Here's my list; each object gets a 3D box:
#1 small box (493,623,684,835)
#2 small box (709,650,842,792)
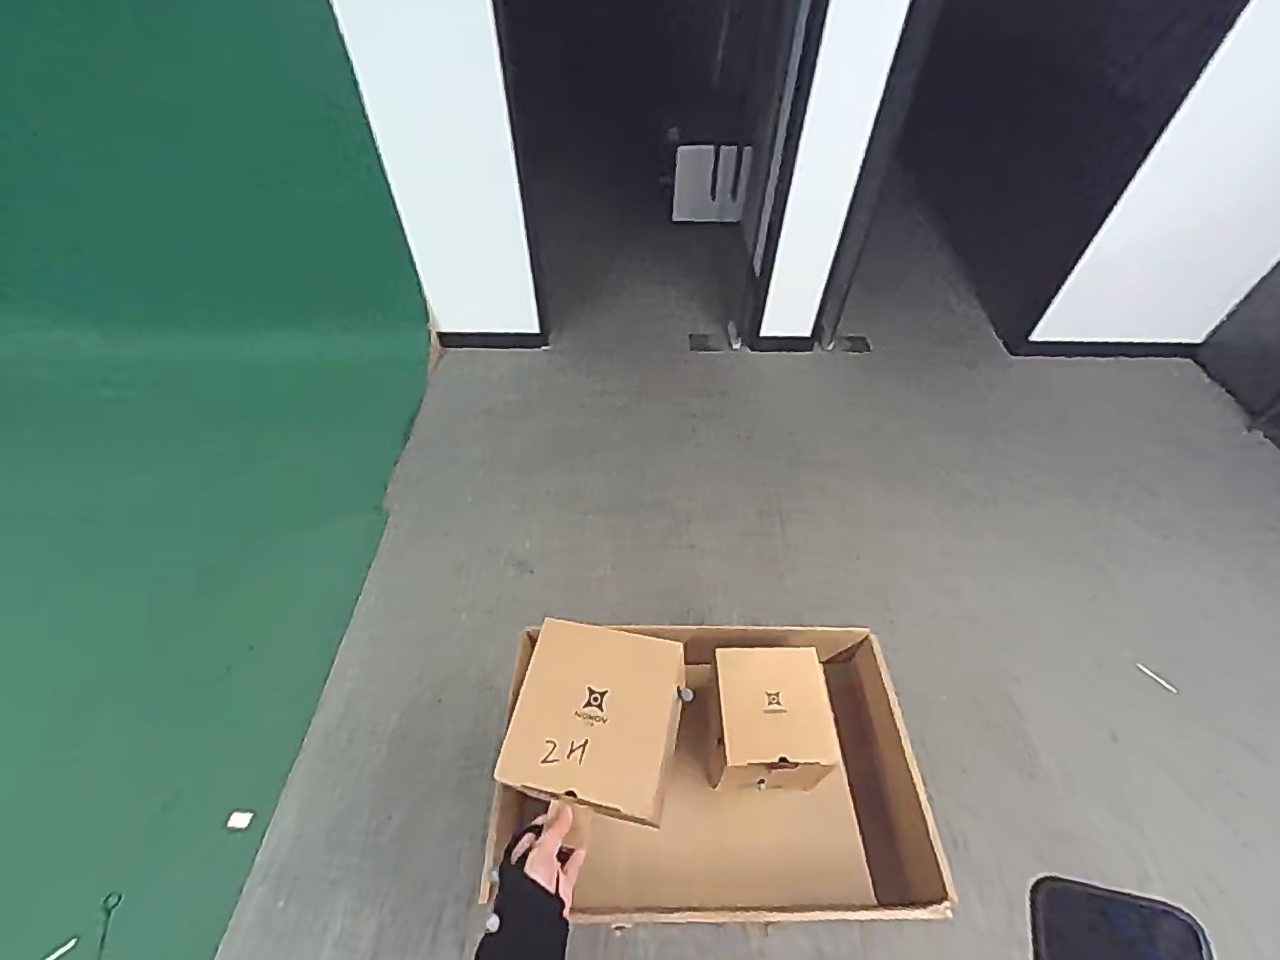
[{"bbox_3d":[-0.043,0.293,0.633,0.168,0.176,0.179,7,57,12],"label":"small box"},{"bbox_3d":[0.207,0.395,0.884,0.168,0.176,0.179,-1,50,0],"label":"small box"}]
